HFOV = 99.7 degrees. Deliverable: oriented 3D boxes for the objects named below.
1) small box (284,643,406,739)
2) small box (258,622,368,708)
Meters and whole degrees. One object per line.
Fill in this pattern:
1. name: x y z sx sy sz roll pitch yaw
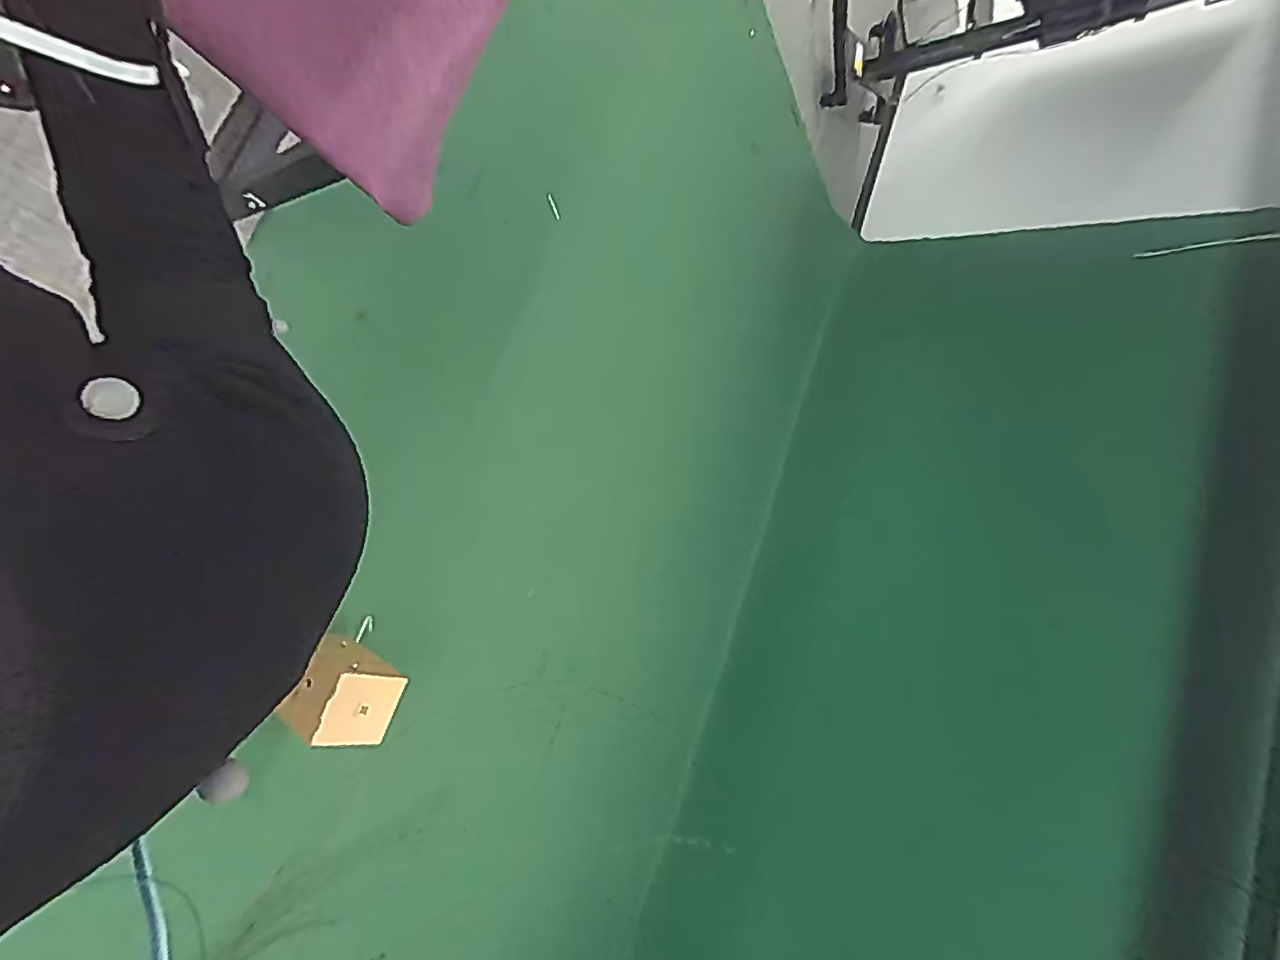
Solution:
1. small box: -0.720 0.513 1.322 0.179 0.176 0.168 34 74 -51
2. small box: -0.849 0.486 1.419 0.179 0.176 0.168 36 71 -51
